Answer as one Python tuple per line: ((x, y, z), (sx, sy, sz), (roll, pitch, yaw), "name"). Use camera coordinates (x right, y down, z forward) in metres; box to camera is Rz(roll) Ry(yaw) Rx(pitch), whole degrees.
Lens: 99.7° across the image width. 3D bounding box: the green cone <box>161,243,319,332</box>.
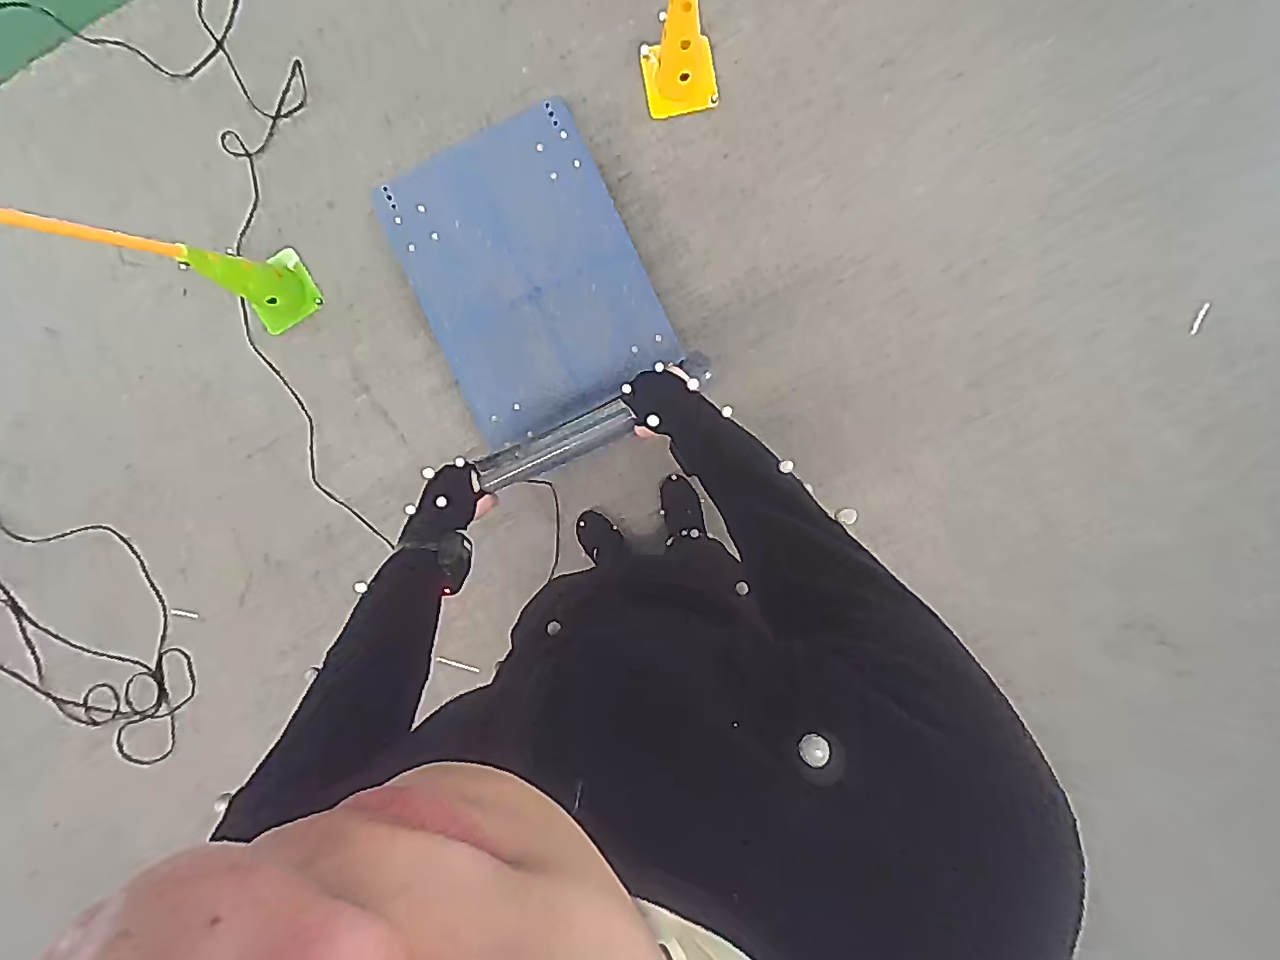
((-1.097, -0.562, 1.451), (0.202, 0.368, 0.200), (-31, 92, 6), "green cone")
